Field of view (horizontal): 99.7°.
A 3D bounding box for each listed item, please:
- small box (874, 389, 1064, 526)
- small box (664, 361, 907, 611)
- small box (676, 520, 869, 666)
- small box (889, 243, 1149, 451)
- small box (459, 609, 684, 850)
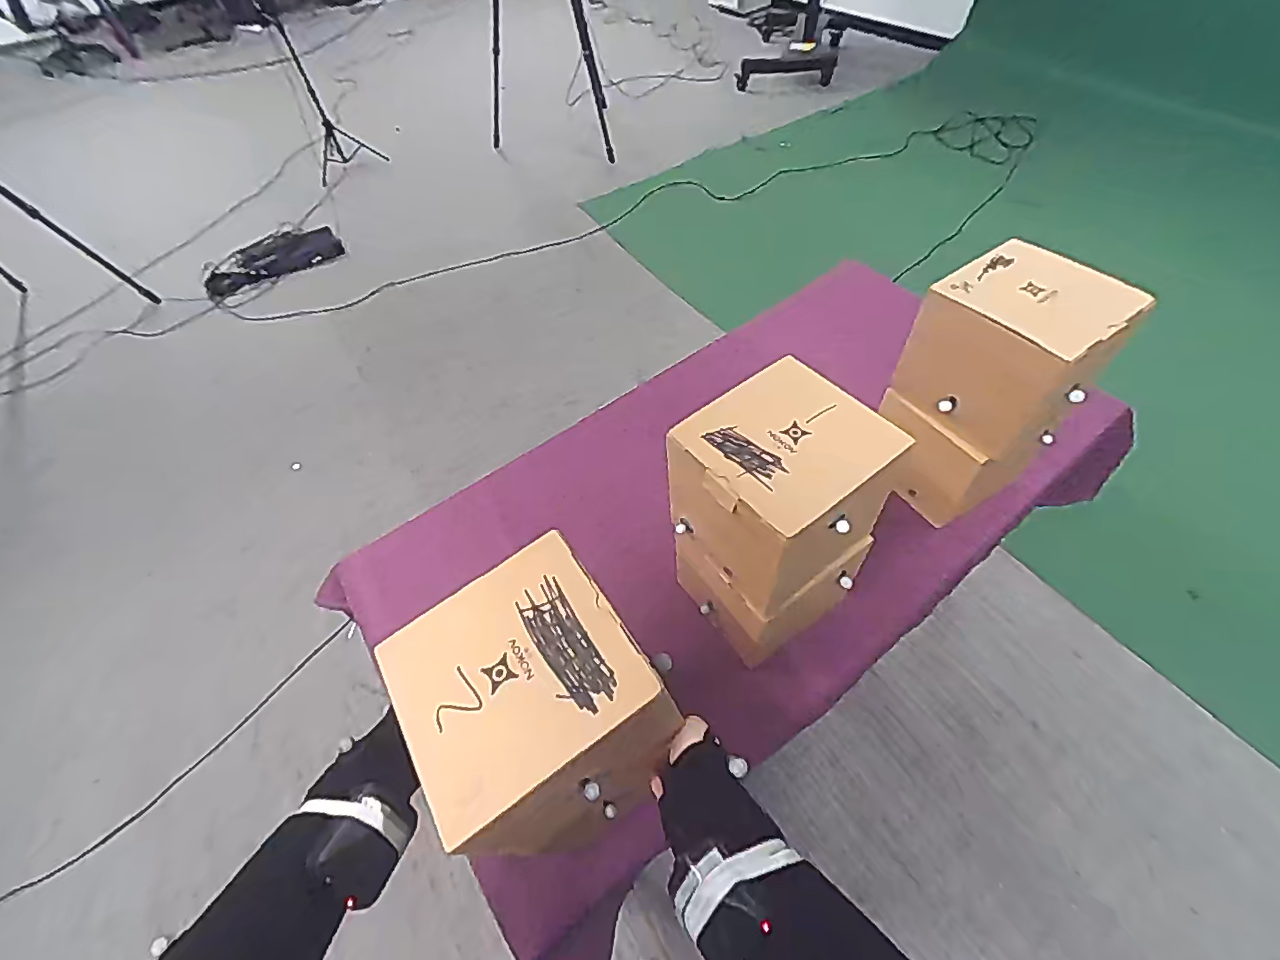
[{"bbox_3d":[0.469,-0.061,0.817,0.179,0.176,0.168,-27,56,-15],"label":"small box"},{"bbox_3d":[0.146,0.010,0.589,0.179,0.176,0.168,-33,57,-19],"label":"small box"},{"bbox_3d":[0.162,0.113,0.718,0.179,0.176,0.168,-30,56,-16],"label":"small box"},{"bbox_3d":[0.458,-0.160,0.686,0.168,0.176,0.179,-30,57,-17],"label":"small box"},{"bbox_3d":[-0.067,0.282,0.606,0.179,0.176,0.168,-30,57,-10],"label":"small box"}]
